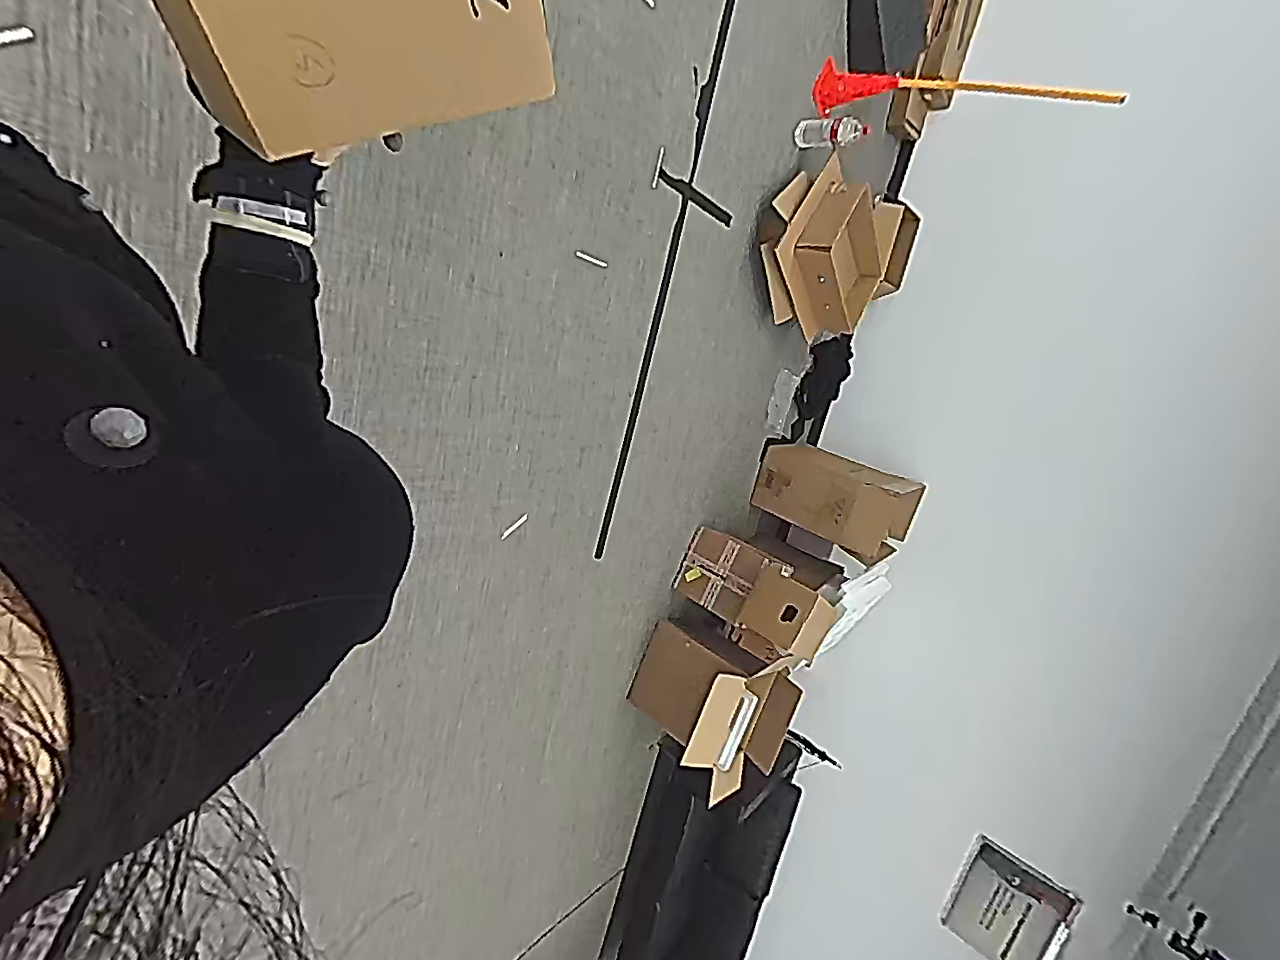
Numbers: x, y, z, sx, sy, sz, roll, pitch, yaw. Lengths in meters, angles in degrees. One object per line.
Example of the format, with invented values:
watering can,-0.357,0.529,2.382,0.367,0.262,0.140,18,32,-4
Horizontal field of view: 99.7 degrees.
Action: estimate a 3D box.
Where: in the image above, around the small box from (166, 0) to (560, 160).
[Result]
small box,-0.173,-0.301,0.303,0.179,0.176,0.168,-32,141,-24
